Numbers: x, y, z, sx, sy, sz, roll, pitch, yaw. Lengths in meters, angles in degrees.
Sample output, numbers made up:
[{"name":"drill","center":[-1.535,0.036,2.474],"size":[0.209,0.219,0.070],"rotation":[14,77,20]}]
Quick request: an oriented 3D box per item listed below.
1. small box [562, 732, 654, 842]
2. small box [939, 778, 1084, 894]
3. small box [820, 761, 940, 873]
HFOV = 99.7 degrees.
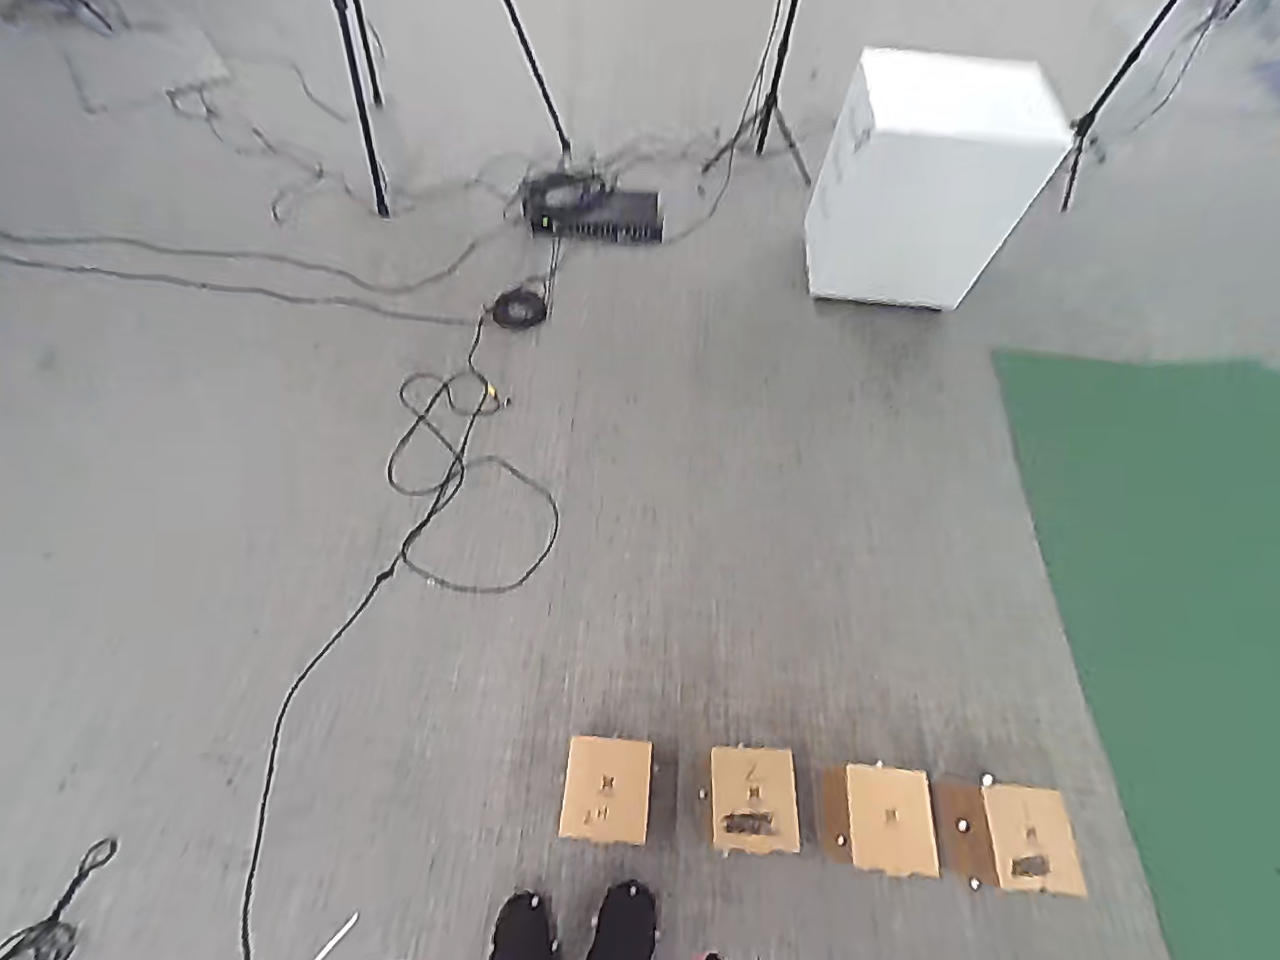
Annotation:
[{"name":"small box","center":[-0.063,0.631,1.119],"size":[0.168,0.176,0.179],"rotation":[5,62,1]},{"name":"small box","center":[0.750,0.722,1.113],"size":[0.168,0.176,0.179],"rotation":[5,61,0]},{"name":"small box","center":[0.483,0.688,1.118],"size":[0.168,0.176,0.179],"rotation":[6,62,0]}]
